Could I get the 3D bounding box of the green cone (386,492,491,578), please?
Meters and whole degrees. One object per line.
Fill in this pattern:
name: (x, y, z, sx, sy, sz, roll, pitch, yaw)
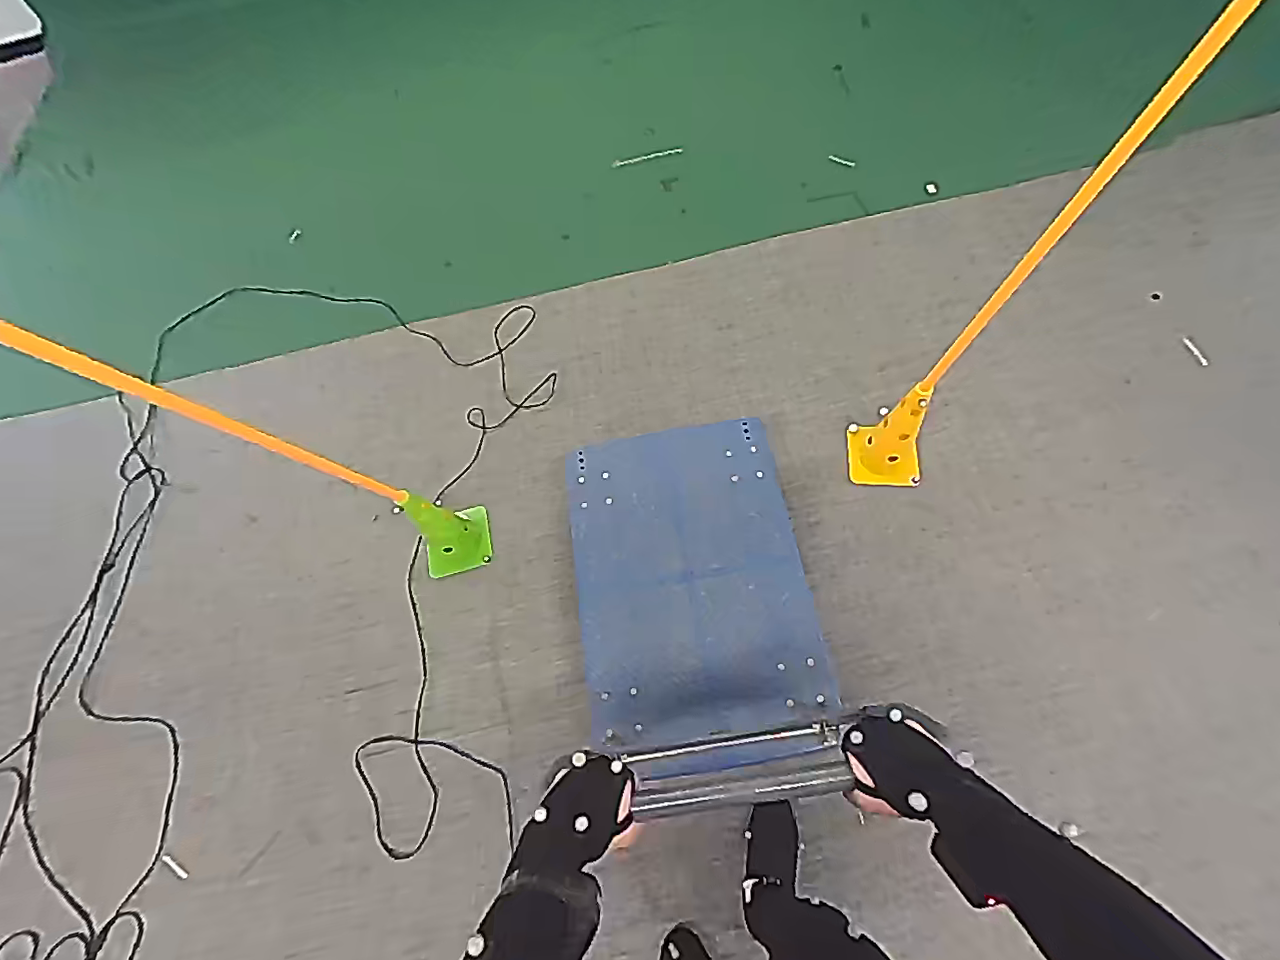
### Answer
green cone: (-0.590, 0.117, 1.518, 0.202, 0.368, 0.200, -17, 64, 1)
